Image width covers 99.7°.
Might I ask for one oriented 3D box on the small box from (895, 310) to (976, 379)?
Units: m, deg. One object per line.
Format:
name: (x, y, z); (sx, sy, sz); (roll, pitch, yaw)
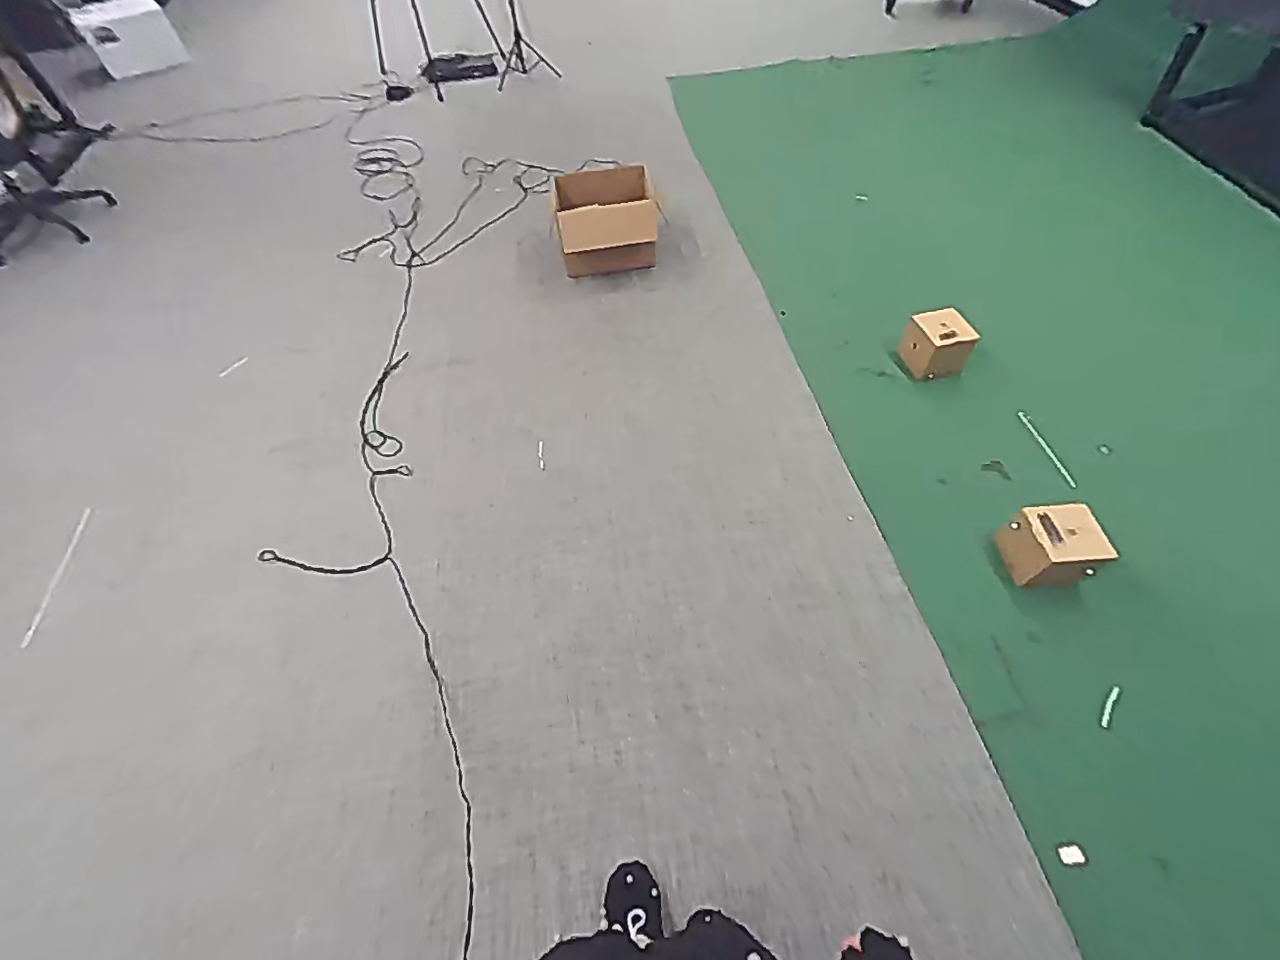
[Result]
small box: (1.062, -0.482, 1.957); (0.168, 0.176, 0.179); (-11, 54, -5)
